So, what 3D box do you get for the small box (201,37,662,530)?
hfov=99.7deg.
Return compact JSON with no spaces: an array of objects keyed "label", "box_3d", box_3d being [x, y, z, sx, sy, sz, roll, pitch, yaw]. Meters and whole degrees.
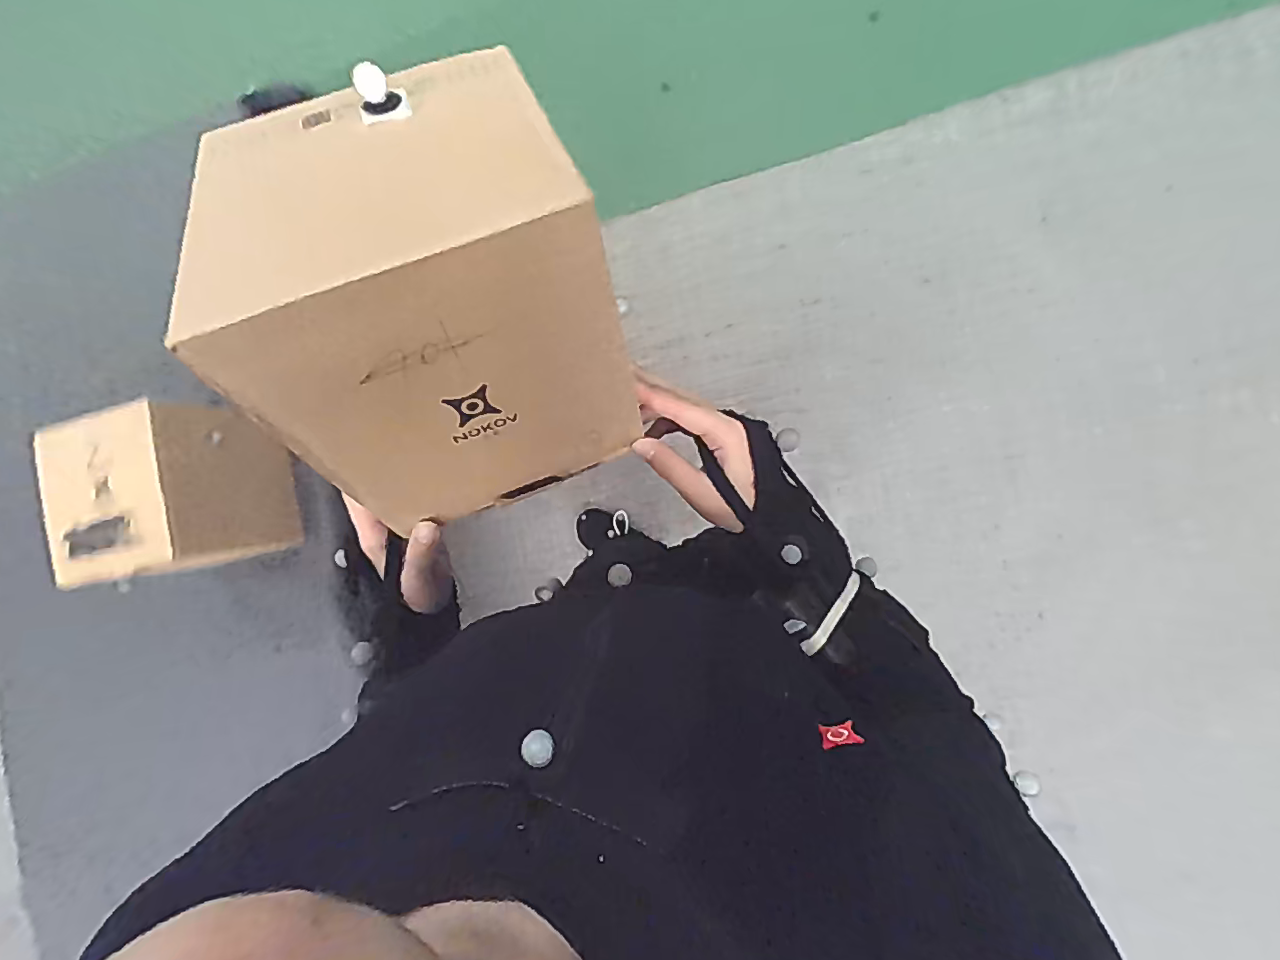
[{"label":"small box","box_3d":[-0.098,-0.103,0.311,0.168,0.179,0.176,-21,58,-4]}]
